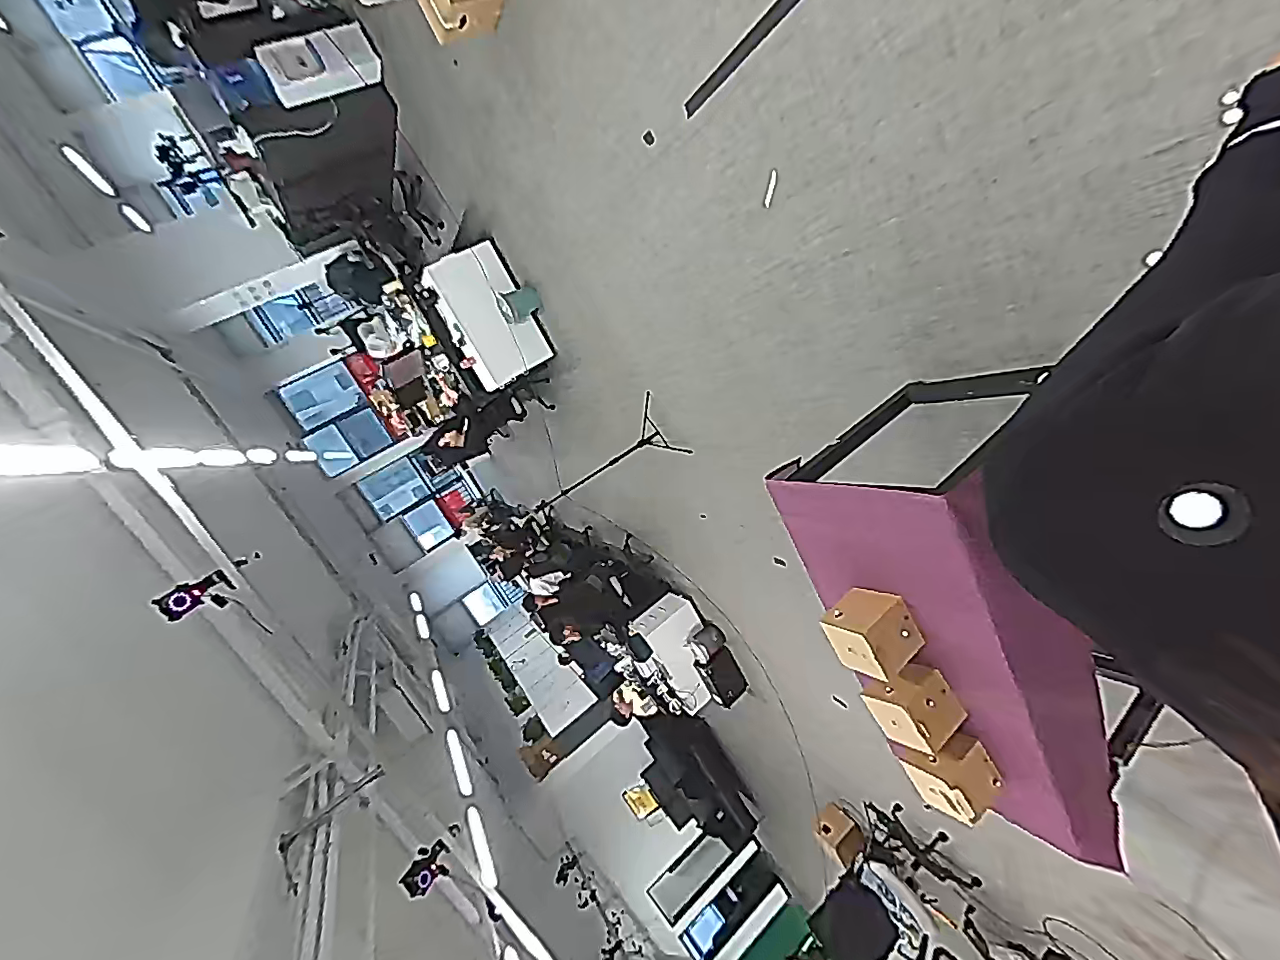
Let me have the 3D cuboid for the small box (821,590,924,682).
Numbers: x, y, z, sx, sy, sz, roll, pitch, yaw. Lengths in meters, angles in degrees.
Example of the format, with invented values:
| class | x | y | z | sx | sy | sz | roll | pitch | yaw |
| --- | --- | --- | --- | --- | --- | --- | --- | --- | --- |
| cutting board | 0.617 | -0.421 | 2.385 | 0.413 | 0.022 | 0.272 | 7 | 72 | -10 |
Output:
| class | x | y | z | sx | sy | sz | roll | pitch | yaw |
| --- | --- | --- | --- | --- | --- | --- | --- | --- | --- |
| small box | 0.661 | 0.434 | 1.540 | 0.168 | 0.176 | 0.179 | 59 | 159 | -11 |

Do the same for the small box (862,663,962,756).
| class | x | y | z | sx | sy | sz | roll | pitch | yaw |
| --- | --- | --- | --- | --- | --- | --- | --- | --- | --- |
| small box | 0.800 | 0.657 | 1.578 | 0.168 | 0.176 | 0.179 | 57 | 160 | -3 |

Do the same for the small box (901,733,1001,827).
| class | x | y | z | sx | sy | sz | roll | pitch | yaw |
| --- | --- | --- | --- | --- | --- | --- | --- | --- | --- |
| small box | 0.930 | 0.871 | 1.606 | 0.168 | 0.176 | 0.179 | 58 | 160 | -4 |
